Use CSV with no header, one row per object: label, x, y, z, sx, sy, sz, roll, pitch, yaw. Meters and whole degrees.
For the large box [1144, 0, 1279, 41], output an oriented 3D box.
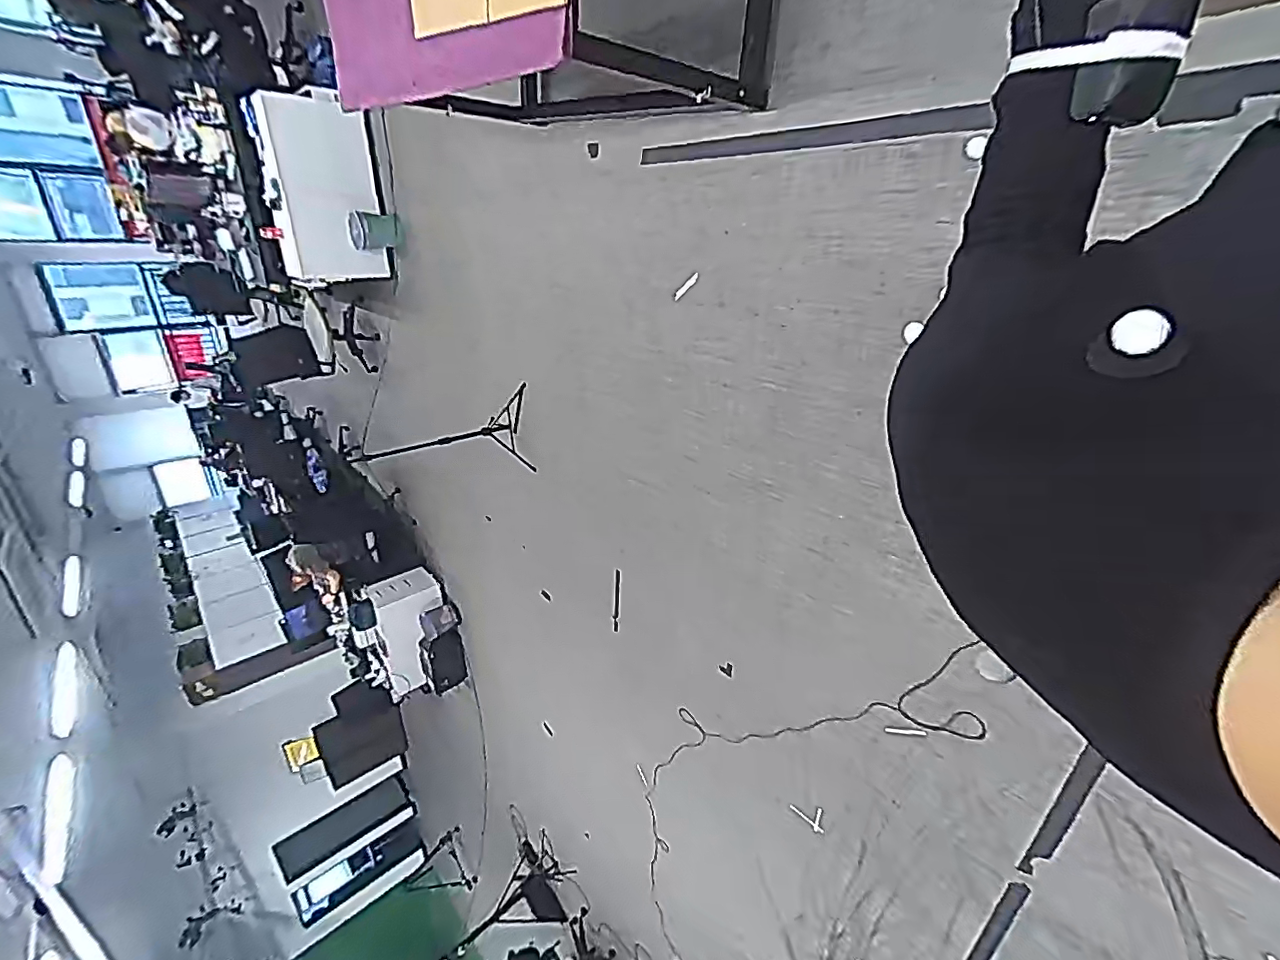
large box,0.527,-0.436,0.221,0.408,0.320,0.320,18,130,42
